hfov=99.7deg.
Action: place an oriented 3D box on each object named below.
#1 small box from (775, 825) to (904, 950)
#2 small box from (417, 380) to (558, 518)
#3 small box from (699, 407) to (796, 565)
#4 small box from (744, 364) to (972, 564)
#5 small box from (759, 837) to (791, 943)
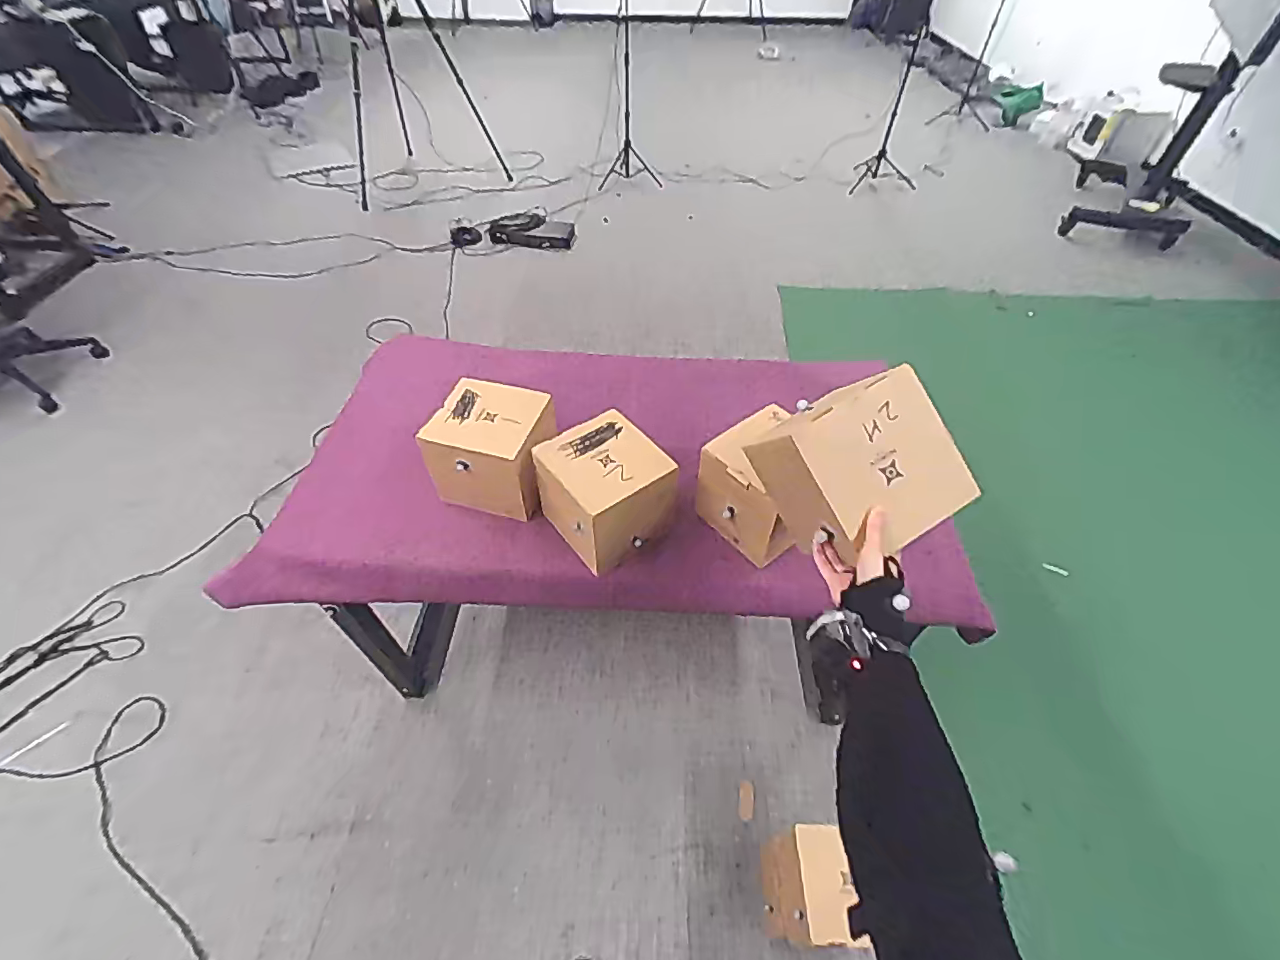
[{"bbox_3d":[0.361,0.768,1.019,0.168,0.176,0.179,1,50,0],"label":"small box"},{"bbox_3d":[-0.260,-0.053,0.972,0.179,0.176,0.168,13,50,9],"label":"small box"},{"bbox_3d":[0.215,0.012,0.924,0.179,0.176,0.168,-32,56,-25],"label":"small box"},{"bbox_3d":[0.259,-0.018,0.682,0.168,0.176,0.179,-29,92,-9],"label":"small box"},{"bbox_3d":[0.352,0.872,1.142,0.179,0.176,0.168,4,49,1],"label":"small box"}]
